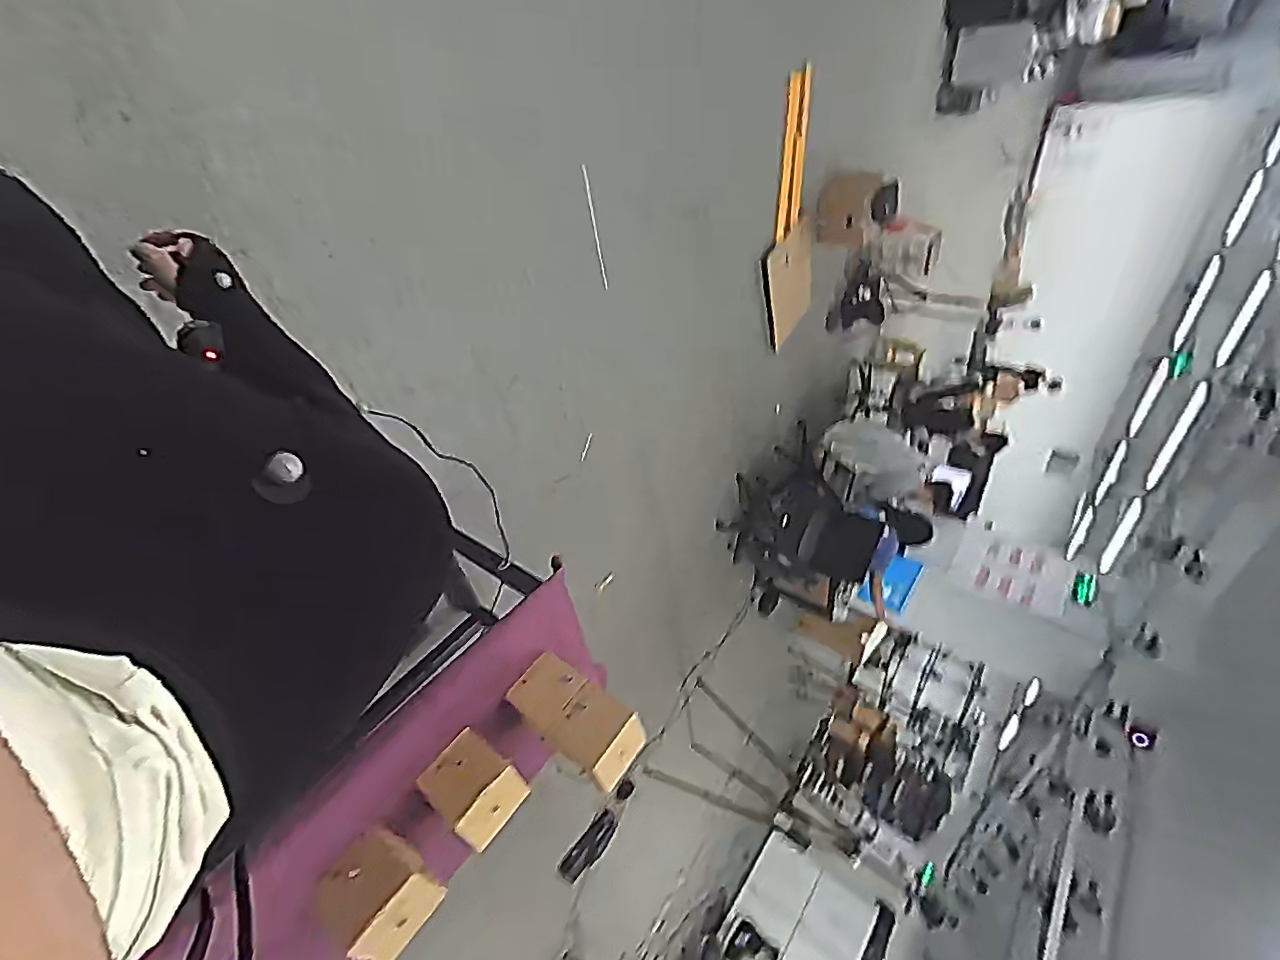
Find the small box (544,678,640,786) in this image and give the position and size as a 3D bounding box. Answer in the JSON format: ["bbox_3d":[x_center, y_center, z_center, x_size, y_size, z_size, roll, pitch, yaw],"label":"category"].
[{"bbox_3d":[-0.124,0.655,1.423,0.168,0.176,0.179,-45,141,-32],"label":"small box"}]

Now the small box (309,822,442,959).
[{"bbox_3d":[-0.585,0.906,1.204,0.168,0.176,0.179,-46,140,-32],"label":"small box"}]

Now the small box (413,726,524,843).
[{"bbox_3d":[-0.426,0.753,1.350,0.168,0.176,0.179,-45,139,-32],"label":"small box"}]
